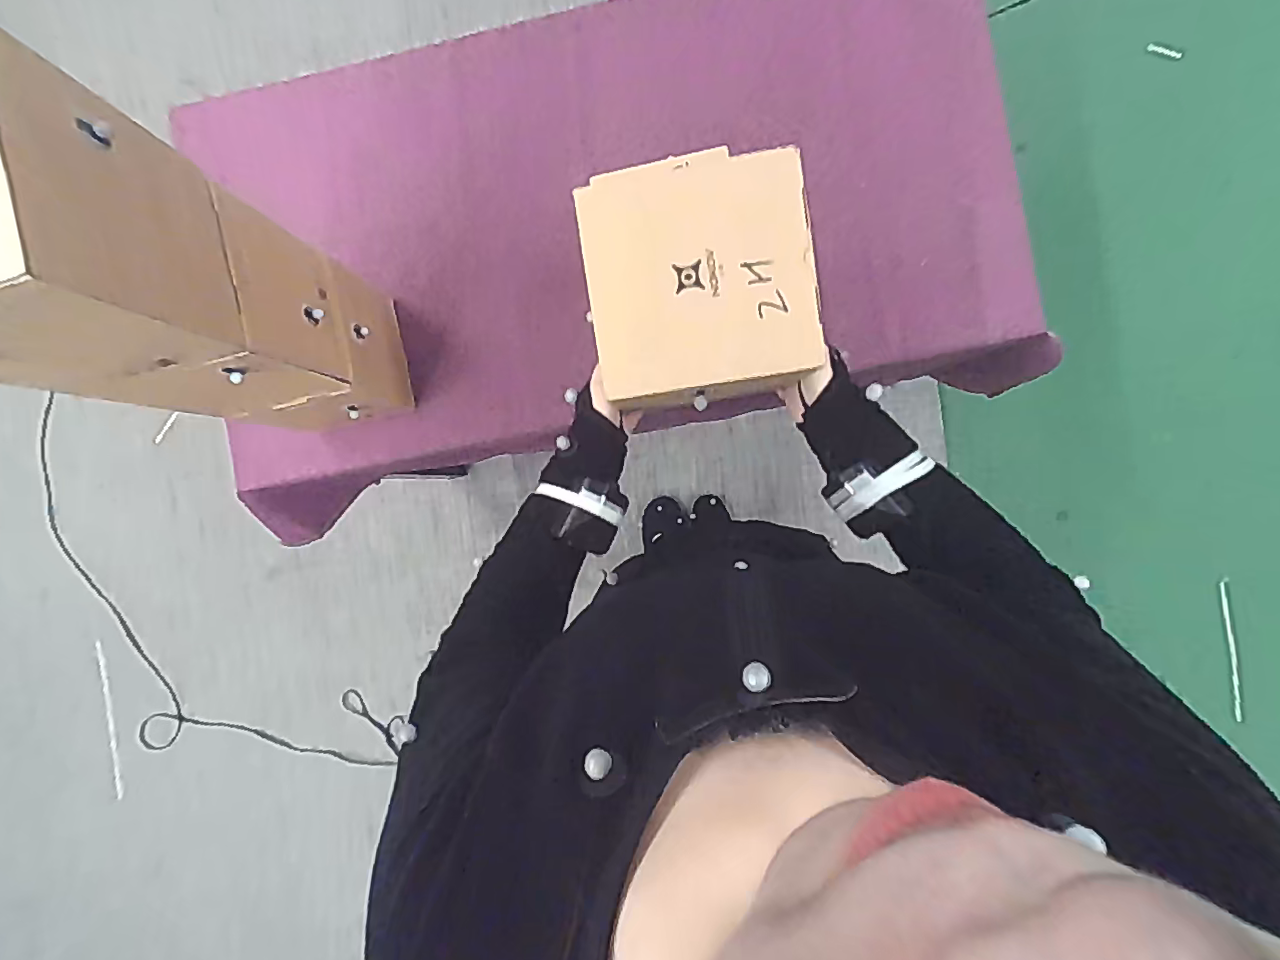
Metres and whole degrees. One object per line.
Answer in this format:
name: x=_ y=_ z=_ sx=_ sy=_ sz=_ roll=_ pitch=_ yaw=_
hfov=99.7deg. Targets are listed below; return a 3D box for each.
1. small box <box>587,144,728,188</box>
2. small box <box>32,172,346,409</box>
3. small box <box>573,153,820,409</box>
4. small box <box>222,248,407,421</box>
small box: x=0.037 y=-0.288 z=0.704 sx=0.168 sy=0.176 sz=0.179 roll=-10 pitch=90 yaw=3
small box: x=-0.454 y=-0.181 z=0.571 sx=0.179 sy=0.176 sz=0.168 roll=-14 pitch=89 yaw=2
small box: x=0.049 y=-0.160 z=0.496 sx=0.179 sy=0.176 sz=0.168 roll=-8 pitch=94 yaw=4
small box: x=-0.440 y=-0.181 z=0.733 sx=0.168 sy=0.176 sz=0.179 roll=-12 pitch=89 yaw=2
